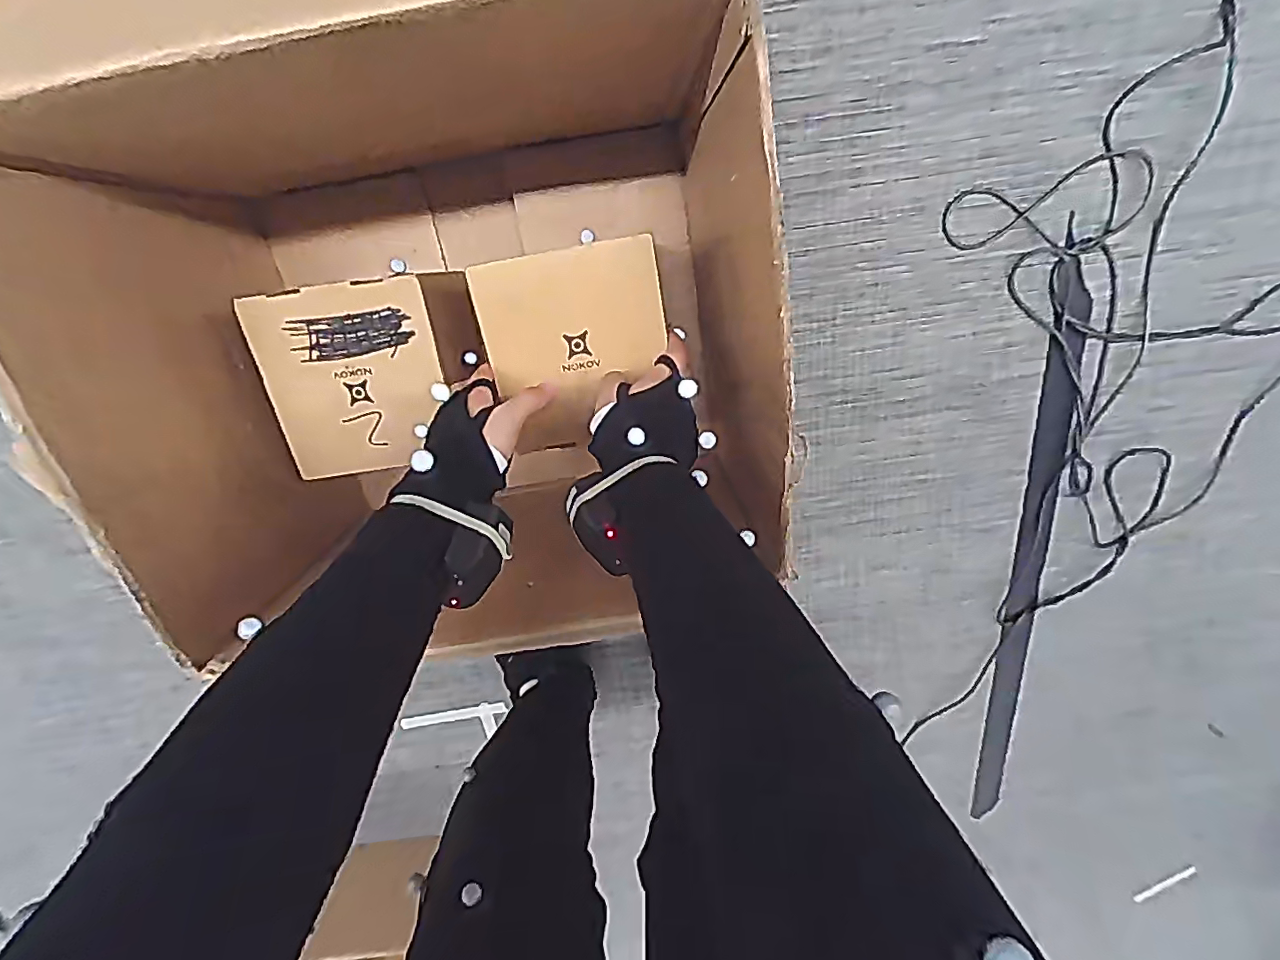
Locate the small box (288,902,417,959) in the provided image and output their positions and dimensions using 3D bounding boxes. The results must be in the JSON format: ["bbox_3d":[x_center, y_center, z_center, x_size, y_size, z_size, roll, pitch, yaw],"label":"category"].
[{"bbox_3d":[-0.492,0.852,0.910,0.179,0.176,0.168,-5,112,-3],"label":"small box"}]
